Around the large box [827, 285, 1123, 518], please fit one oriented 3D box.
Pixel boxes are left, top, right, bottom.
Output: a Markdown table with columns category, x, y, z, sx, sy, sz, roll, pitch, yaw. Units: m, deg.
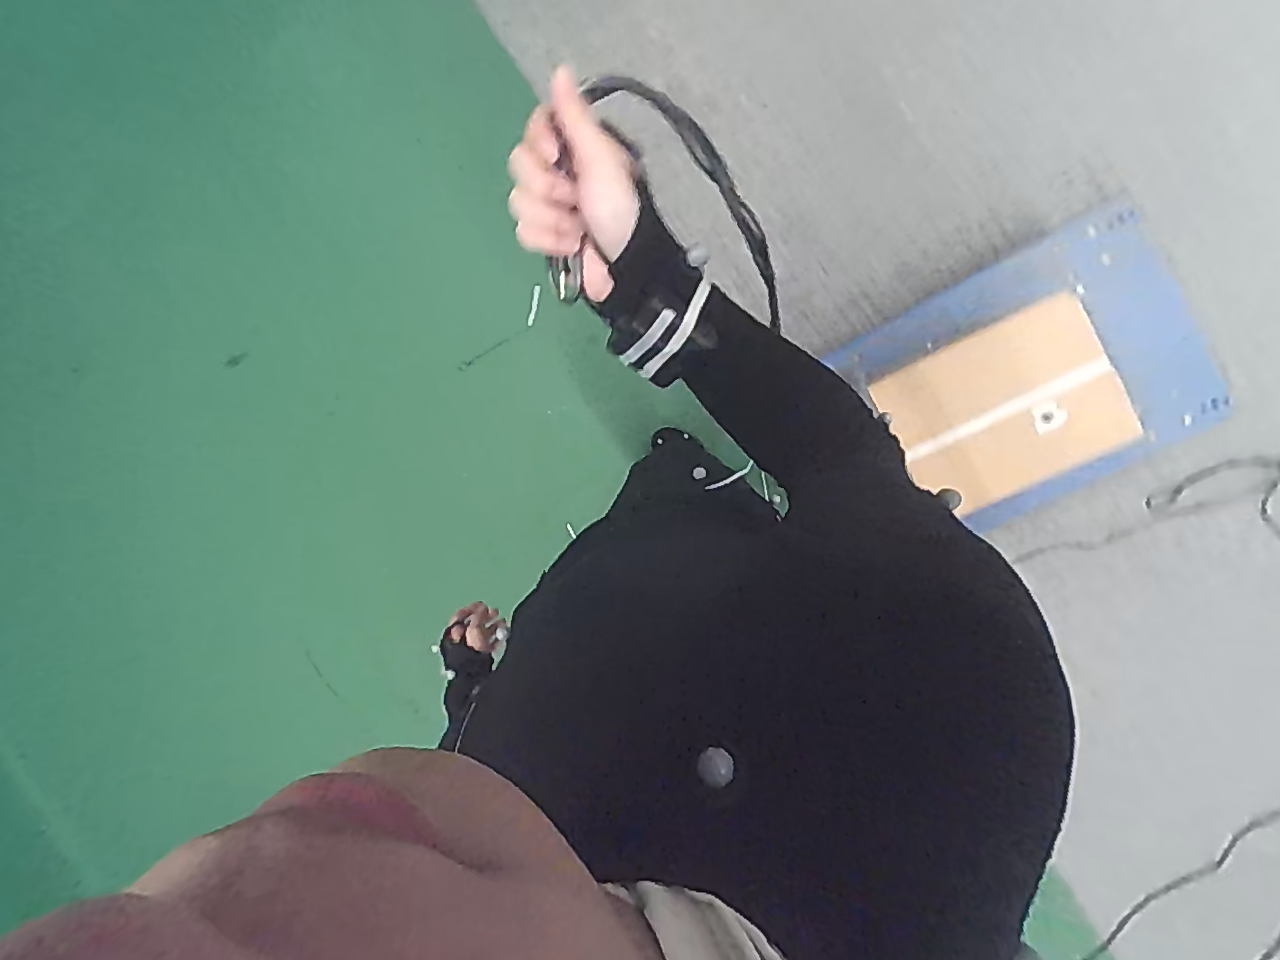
| category | x | y | z | sx | sy | sz | roll | pitch | yaw |
| --- | --- | --- | --- | --- | --- | --- | --- | --- | --- |
| large box | 0.695 | -0.158 | 1.199 | 0.408 | 0.320 | 0.320 | -27 | 93 | 9 |
